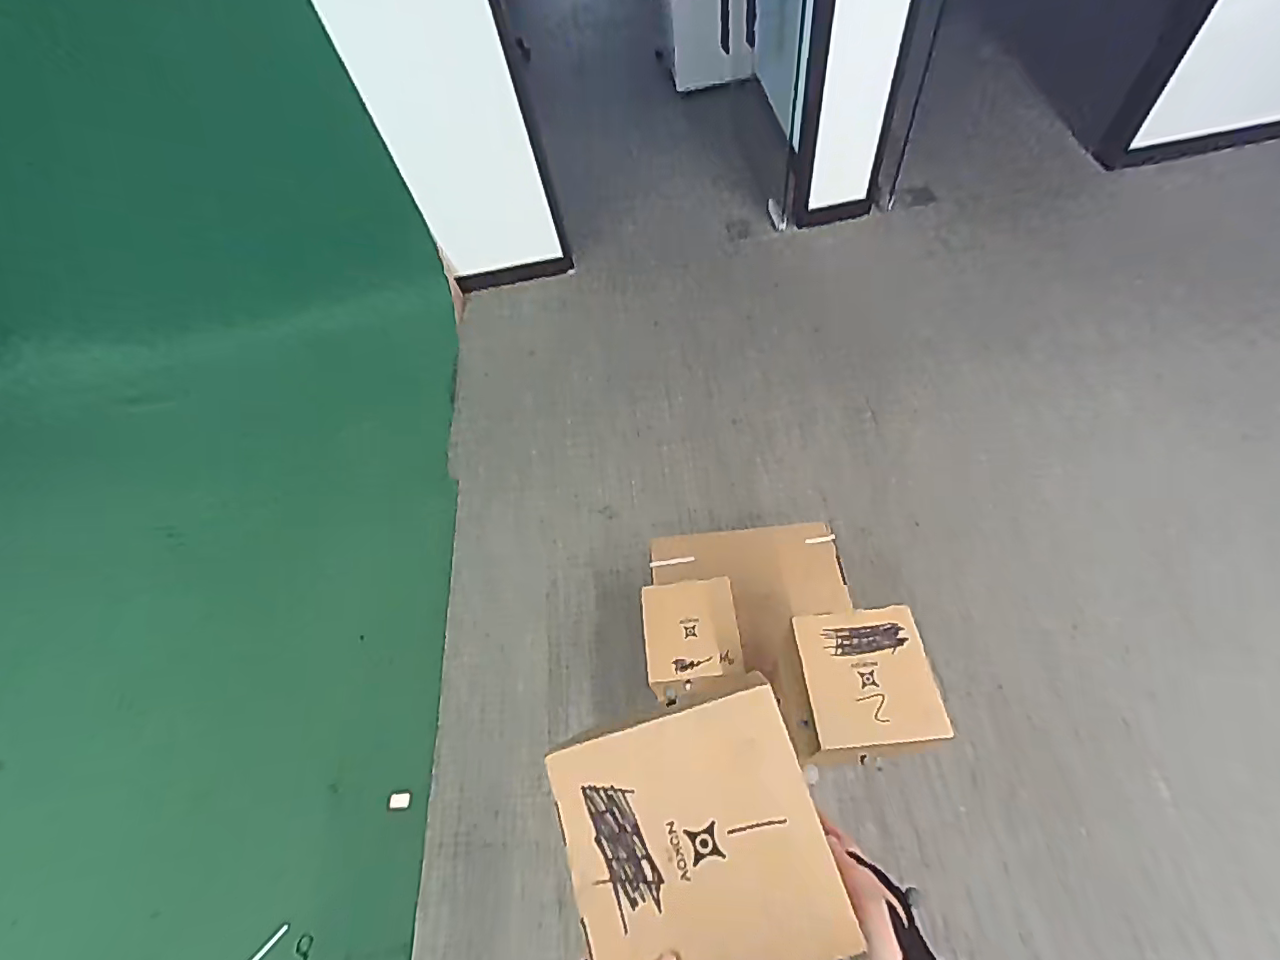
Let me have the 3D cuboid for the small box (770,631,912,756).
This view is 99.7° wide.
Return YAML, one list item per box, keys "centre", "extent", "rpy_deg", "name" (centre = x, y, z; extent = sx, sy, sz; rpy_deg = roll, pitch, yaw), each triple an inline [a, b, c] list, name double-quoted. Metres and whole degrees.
- centre: [0.330, 0.372, 0.931]
  extent: [0.179, 0.176, 0.168]
  rpy_deg: [-8, 57, 4]
  name: "small box"

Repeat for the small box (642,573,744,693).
- centre: [0.098, 0.295, 1.016]
  extent: [0.168, 0.176, 0.179]
  rpy_deg: [-8, 56, 5]
  name: "small box"

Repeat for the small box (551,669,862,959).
- centre: [0.048, 0.263, 0.443]
  extent: [0.179, 0.176, 0.168]
  rpy_deg: [-19, 71, 1]
  name: "small box"
